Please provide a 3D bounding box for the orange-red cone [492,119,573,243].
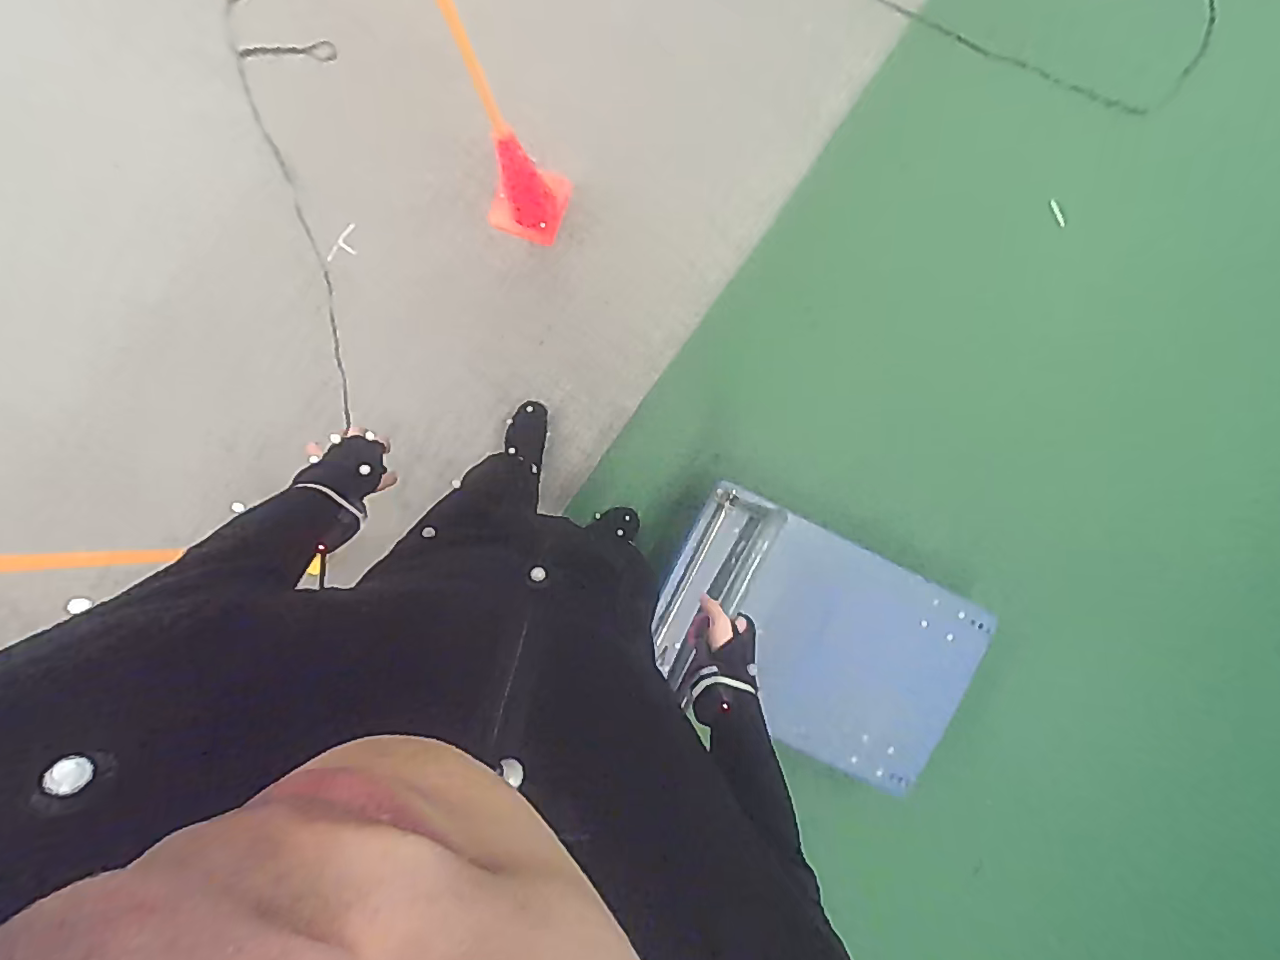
[{"bbox_3d":[-0.308,-0.807,1.400,0.198,0.360,0.199,21,91,-2],"label":"orange-red cone"}]
